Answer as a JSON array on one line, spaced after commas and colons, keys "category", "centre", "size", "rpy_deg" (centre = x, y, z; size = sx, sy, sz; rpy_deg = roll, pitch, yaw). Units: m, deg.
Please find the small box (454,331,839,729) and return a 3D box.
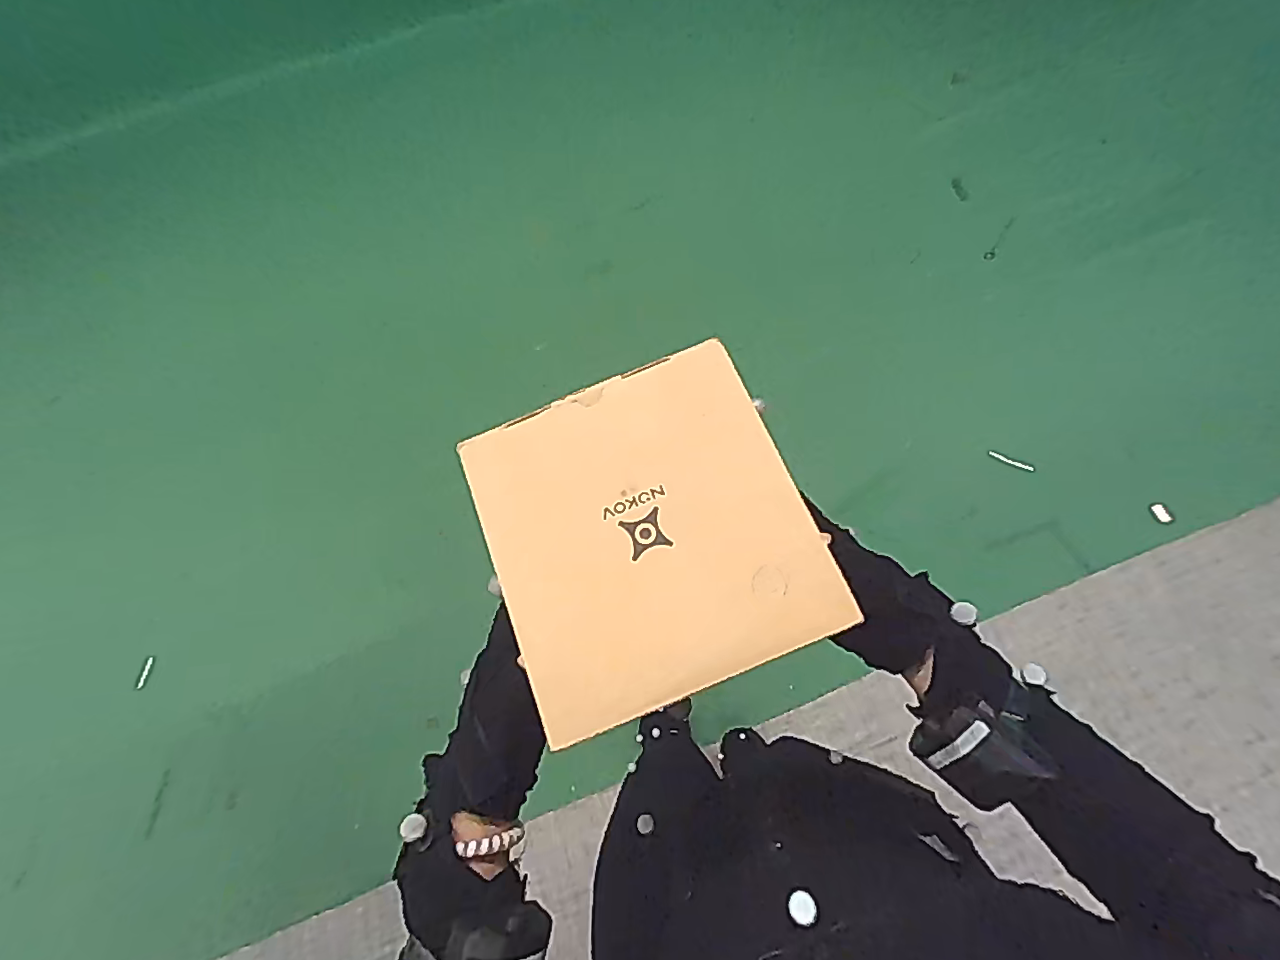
[{"category": "small box", "centre": [0.005, 0.040, 0.367], "size": [0.168, 0.176, 0.179], "rpy_deg": [-23, 71, 0]}]
